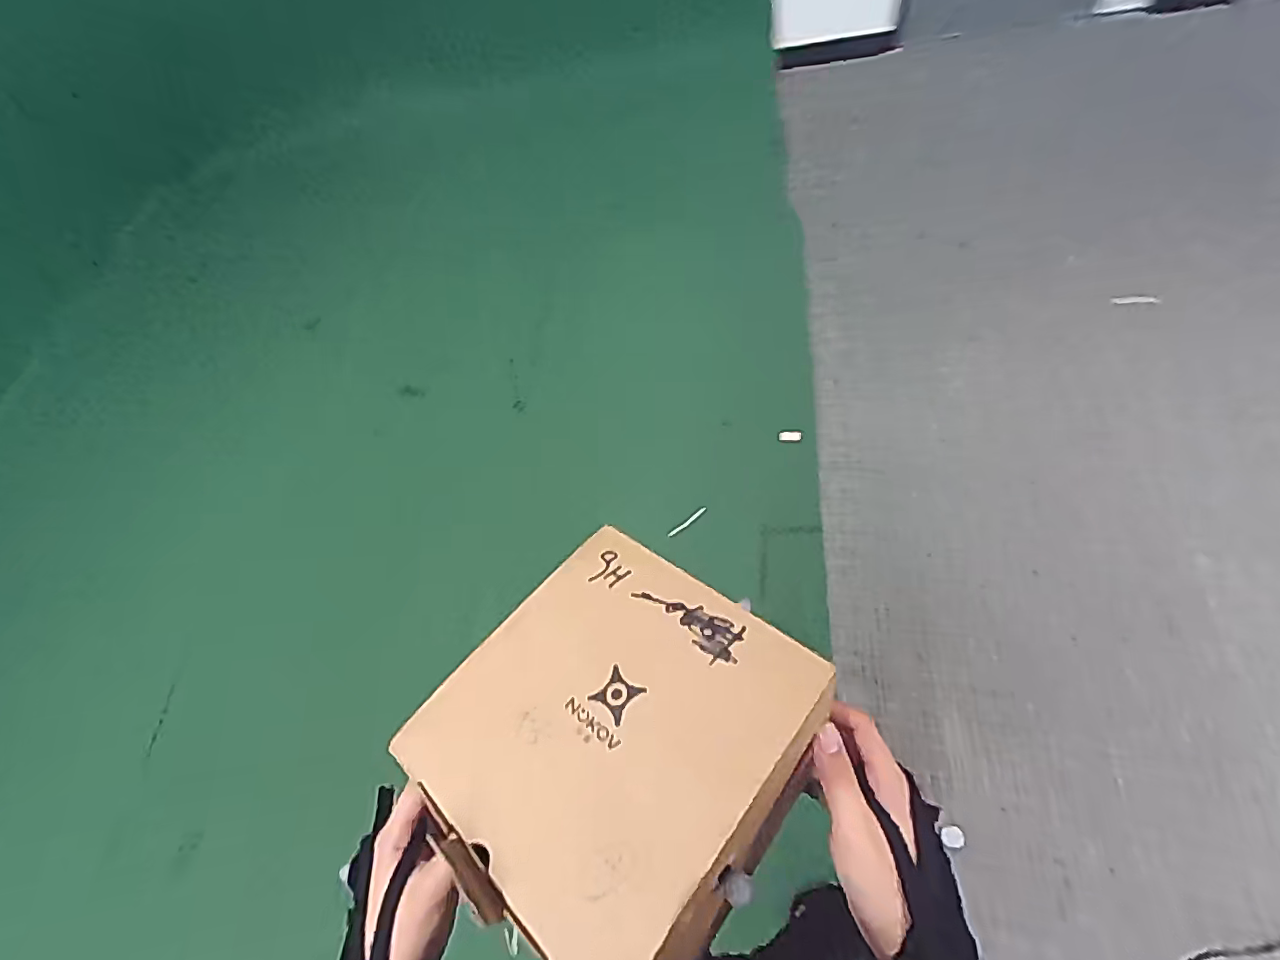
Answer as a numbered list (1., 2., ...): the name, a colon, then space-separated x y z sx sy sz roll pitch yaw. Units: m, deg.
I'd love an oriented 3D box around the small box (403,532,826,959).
1. small box: -0.001 0.173 0.342 0.168 0.176 0.179 29 62 33
